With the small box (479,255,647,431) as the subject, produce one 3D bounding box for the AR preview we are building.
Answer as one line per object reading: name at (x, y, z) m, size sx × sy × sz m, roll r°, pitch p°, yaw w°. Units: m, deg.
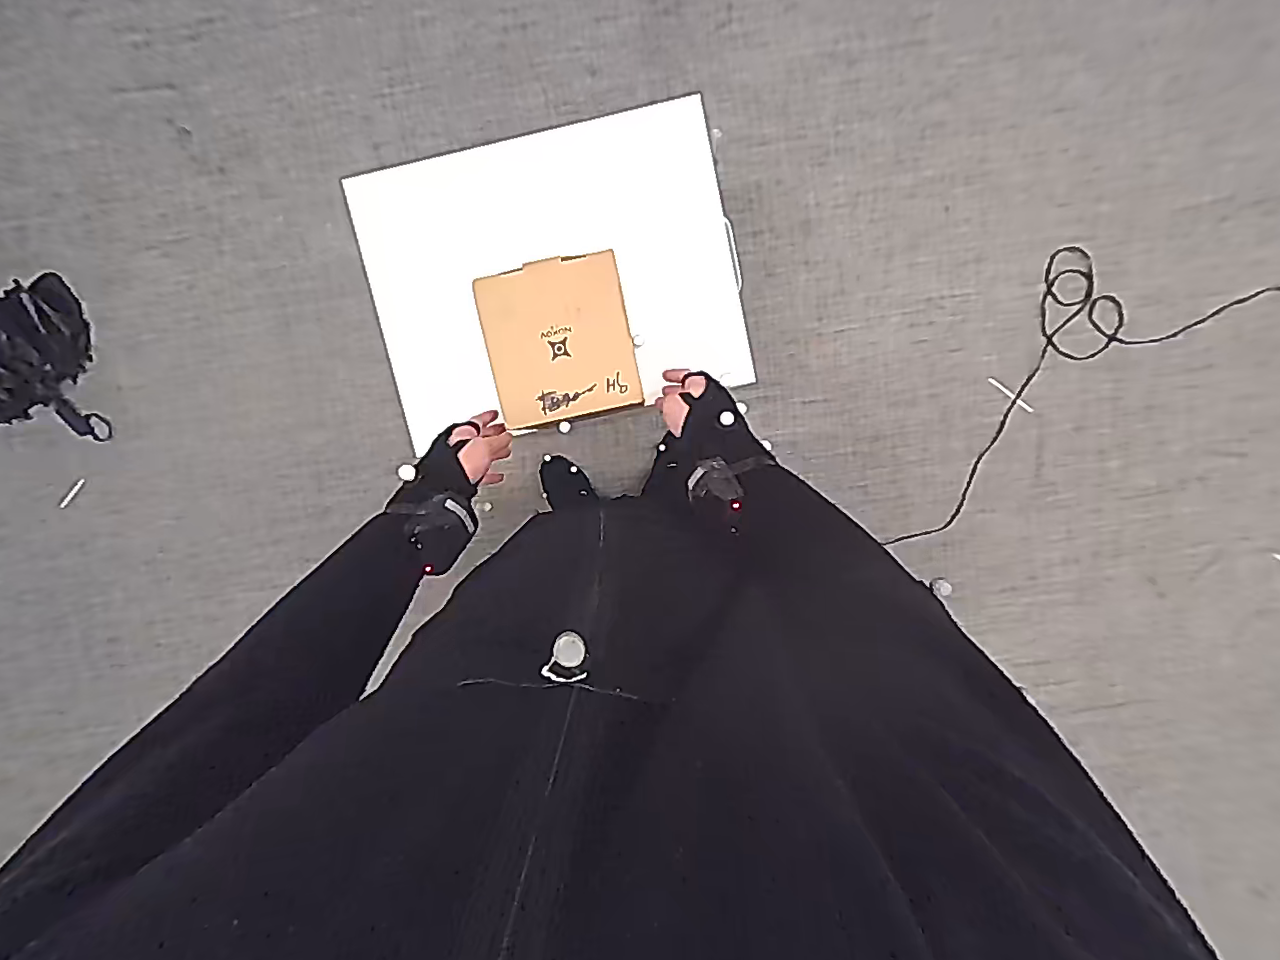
small box at (-0.088, -0.162, 0.699) m, size 0.168 × 0.176 × 0.179 m, roll -12°, pitch 96°, yaw 2°
